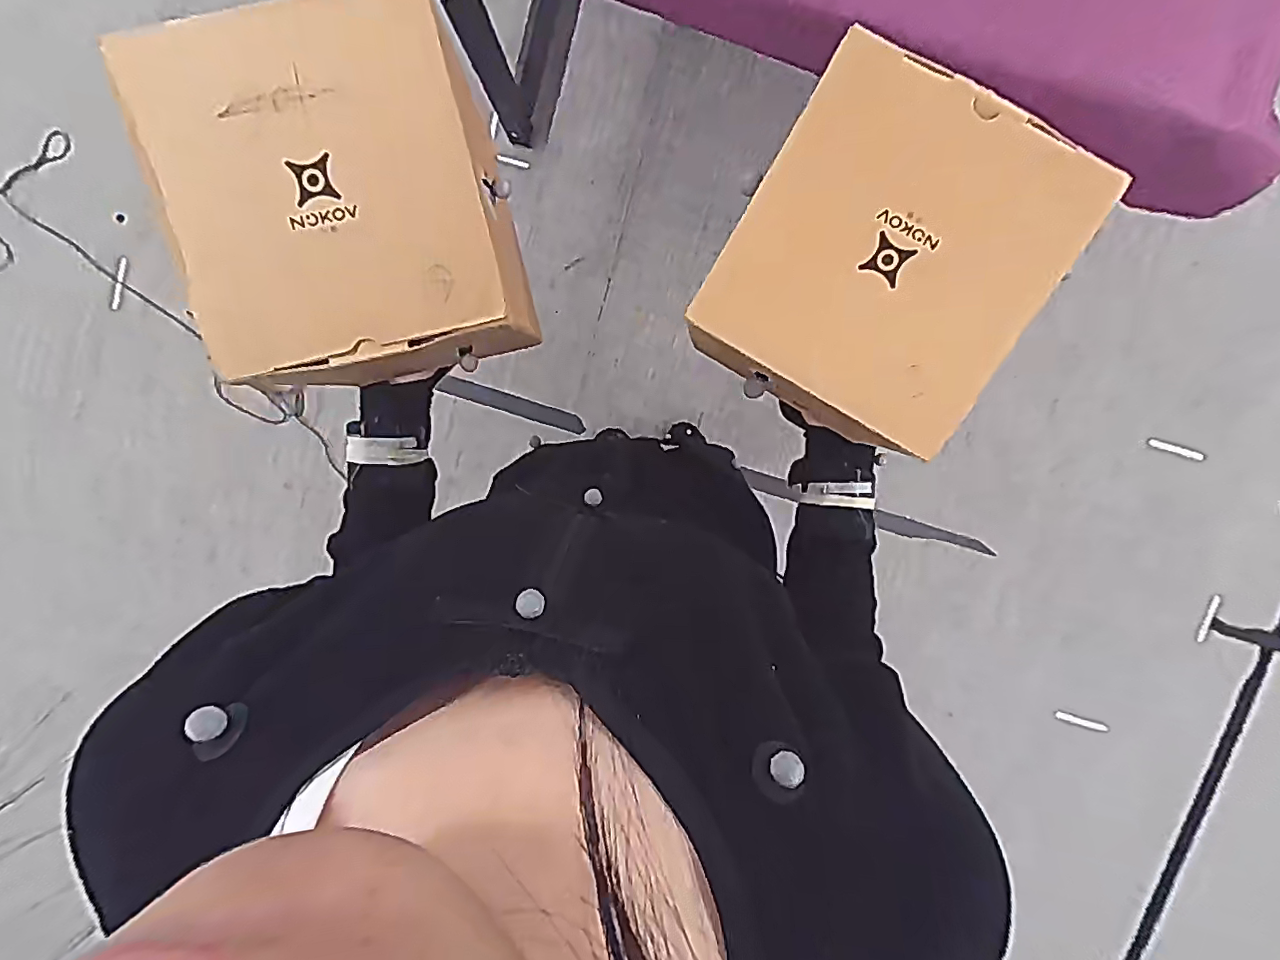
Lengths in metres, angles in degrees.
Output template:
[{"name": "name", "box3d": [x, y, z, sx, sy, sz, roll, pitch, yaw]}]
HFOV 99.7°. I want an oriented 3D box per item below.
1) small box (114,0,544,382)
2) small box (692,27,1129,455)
[{"name": "small box", "box3d": [-0.169, -0.169, 0.363, 0.168, 0.176, 0.179, -13, 100, -2]}, {"name": "small box", "box3d": [0.153, -0.136, 0.375, 0.168, 0.176, 0.179, 32, 99, 3]}]
